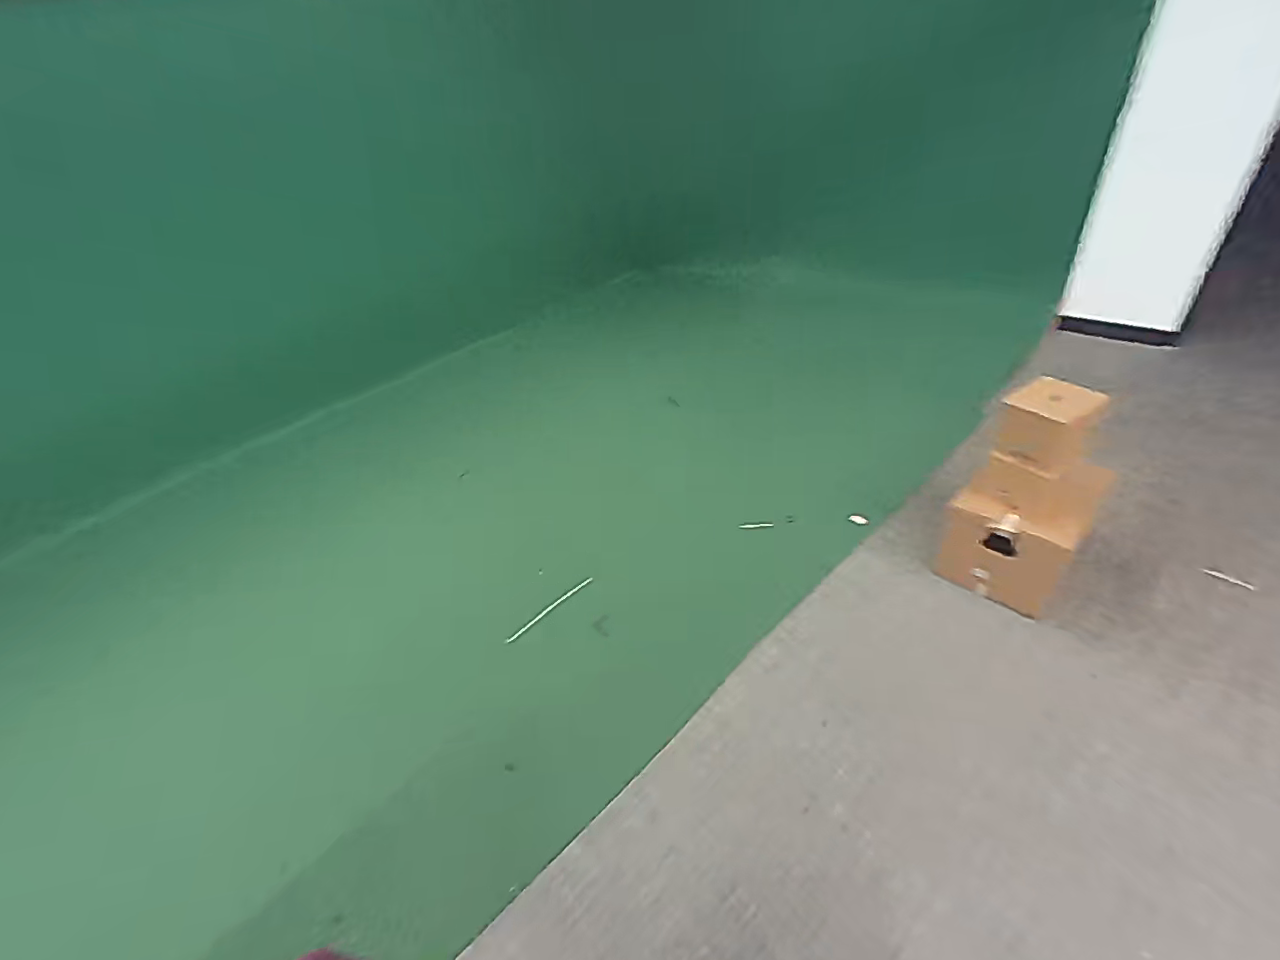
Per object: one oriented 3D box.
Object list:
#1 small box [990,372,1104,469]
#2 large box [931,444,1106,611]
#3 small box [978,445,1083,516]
[{"bbox_3d":[1.079,-0.161,1.452,0.179,0.176,0.168,-27,40,-16],"label":"small box"},{"bbox_3d":[1.185,0.131,1.716,0.408,0.320,0.320,-36,44,-28],"label":"large box"},{"bbox_3d":[1.104,-0.030,1.545,0.179,0.176,0.168,-29,41,-19],"label":"small box"}]
